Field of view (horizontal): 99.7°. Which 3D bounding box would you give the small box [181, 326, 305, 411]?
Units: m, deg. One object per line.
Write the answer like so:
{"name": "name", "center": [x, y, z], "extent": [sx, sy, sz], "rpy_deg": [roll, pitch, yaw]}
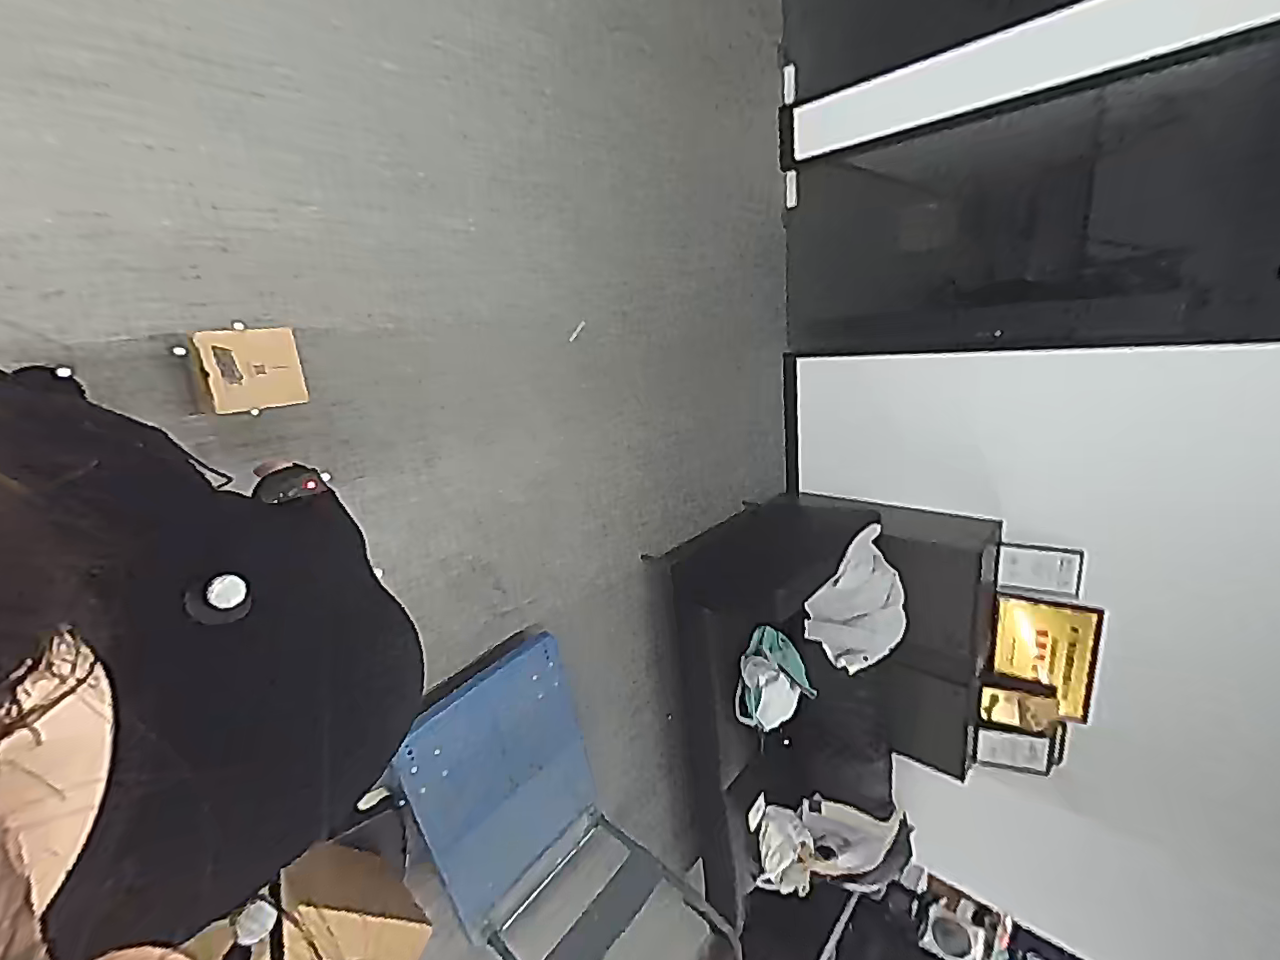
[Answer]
{"name": "small box", "center": [-0.874, -0.246, 1.185], "extent": [0.179, 0.176, 0.168], "rpy_deg": [-20, 113, -45]}
